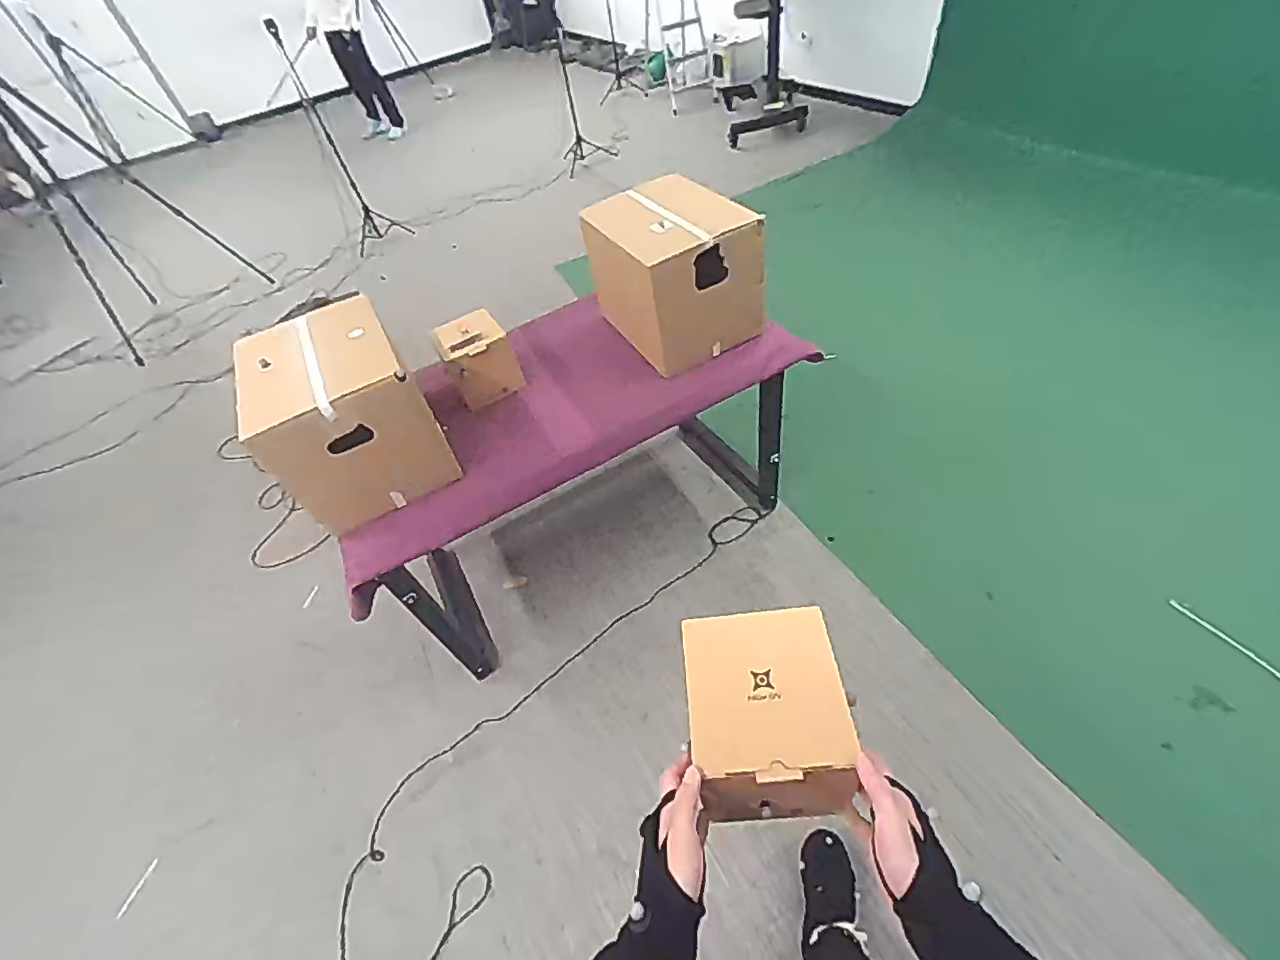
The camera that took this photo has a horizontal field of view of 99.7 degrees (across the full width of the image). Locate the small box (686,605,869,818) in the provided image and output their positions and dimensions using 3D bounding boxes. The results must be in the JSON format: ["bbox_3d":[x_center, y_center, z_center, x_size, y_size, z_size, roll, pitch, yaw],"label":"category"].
[{"bbox_3d":[0.146,0.272,0.634,0.168,0.176,0.179,-8,46,5],"label":"small box"}]

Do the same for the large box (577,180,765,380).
[{"bbox_3d":[0.081,-0.536,1.434,0.320,0.320,0.408,-28,50,-12],"label":"large box"}]
